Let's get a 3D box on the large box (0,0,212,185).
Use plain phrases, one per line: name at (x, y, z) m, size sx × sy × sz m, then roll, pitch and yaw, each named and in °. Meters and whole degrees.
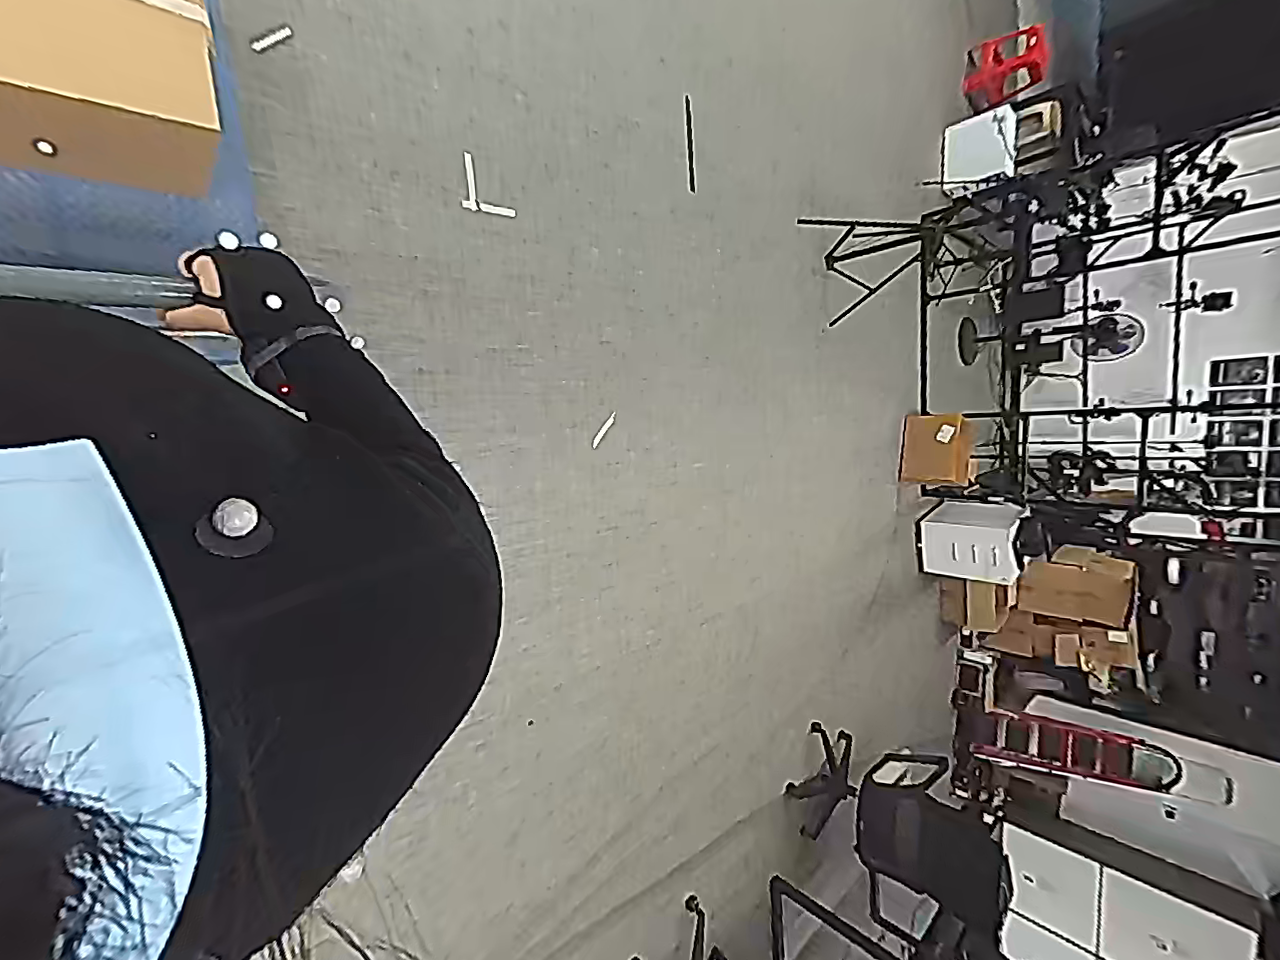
large box at (-0.907, -0.672, 0.781) m, size 0.408 × 0.320 × 0.320 m, roll -11°, pitch 100°, yaw -41°
